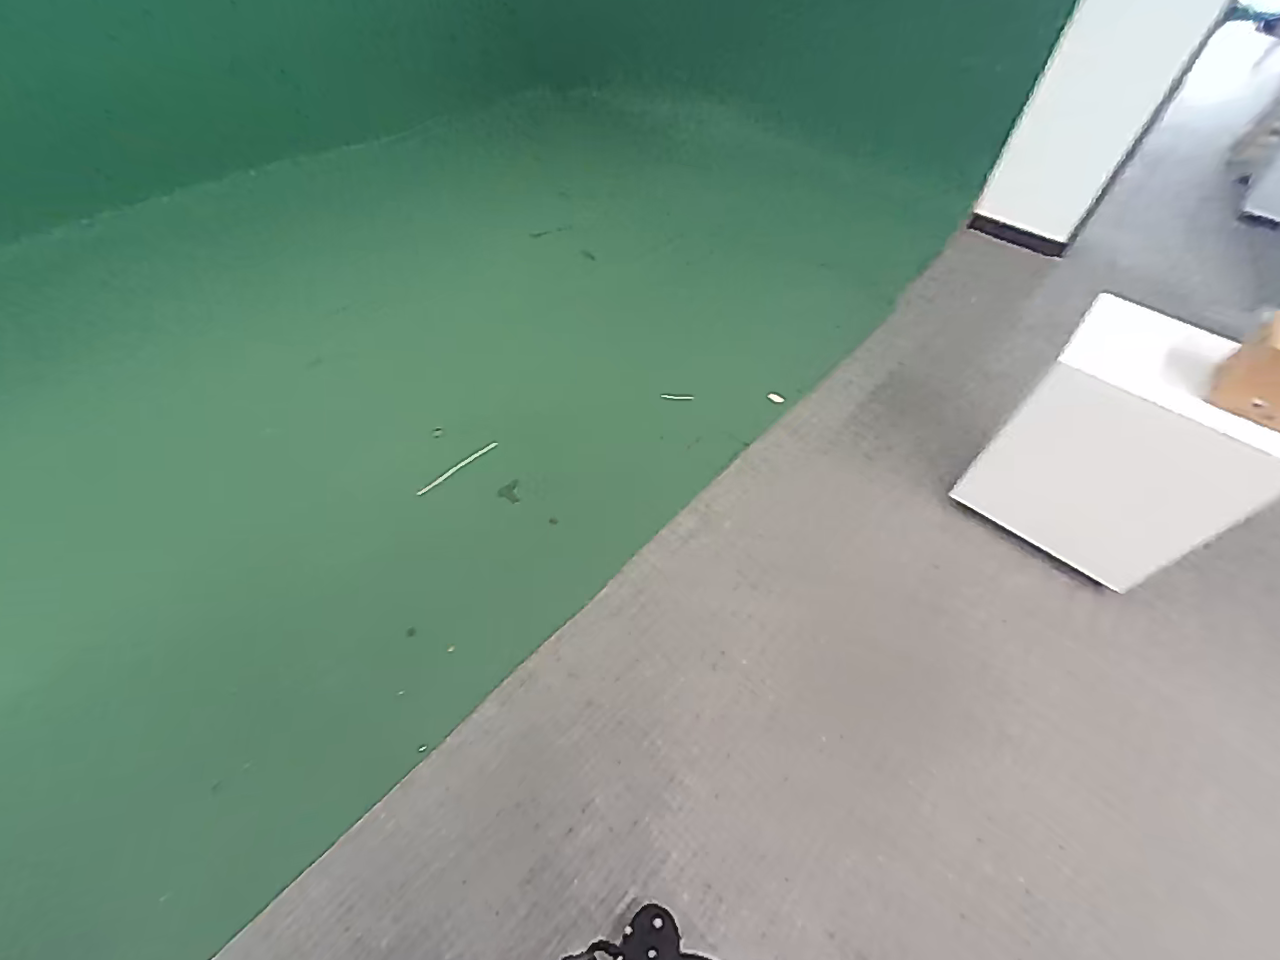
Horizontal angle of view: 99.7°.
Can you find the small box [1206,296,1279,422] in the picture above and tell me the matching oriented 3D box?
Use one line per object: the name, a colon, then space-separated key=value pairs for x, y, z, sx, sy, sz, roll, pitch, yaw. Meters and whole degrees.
small box: x=1.385 y=-0.258 z=1.163 sx=0.168 sy=0.176 sz=0.179 roll=33 pitch=60 yaw=23
